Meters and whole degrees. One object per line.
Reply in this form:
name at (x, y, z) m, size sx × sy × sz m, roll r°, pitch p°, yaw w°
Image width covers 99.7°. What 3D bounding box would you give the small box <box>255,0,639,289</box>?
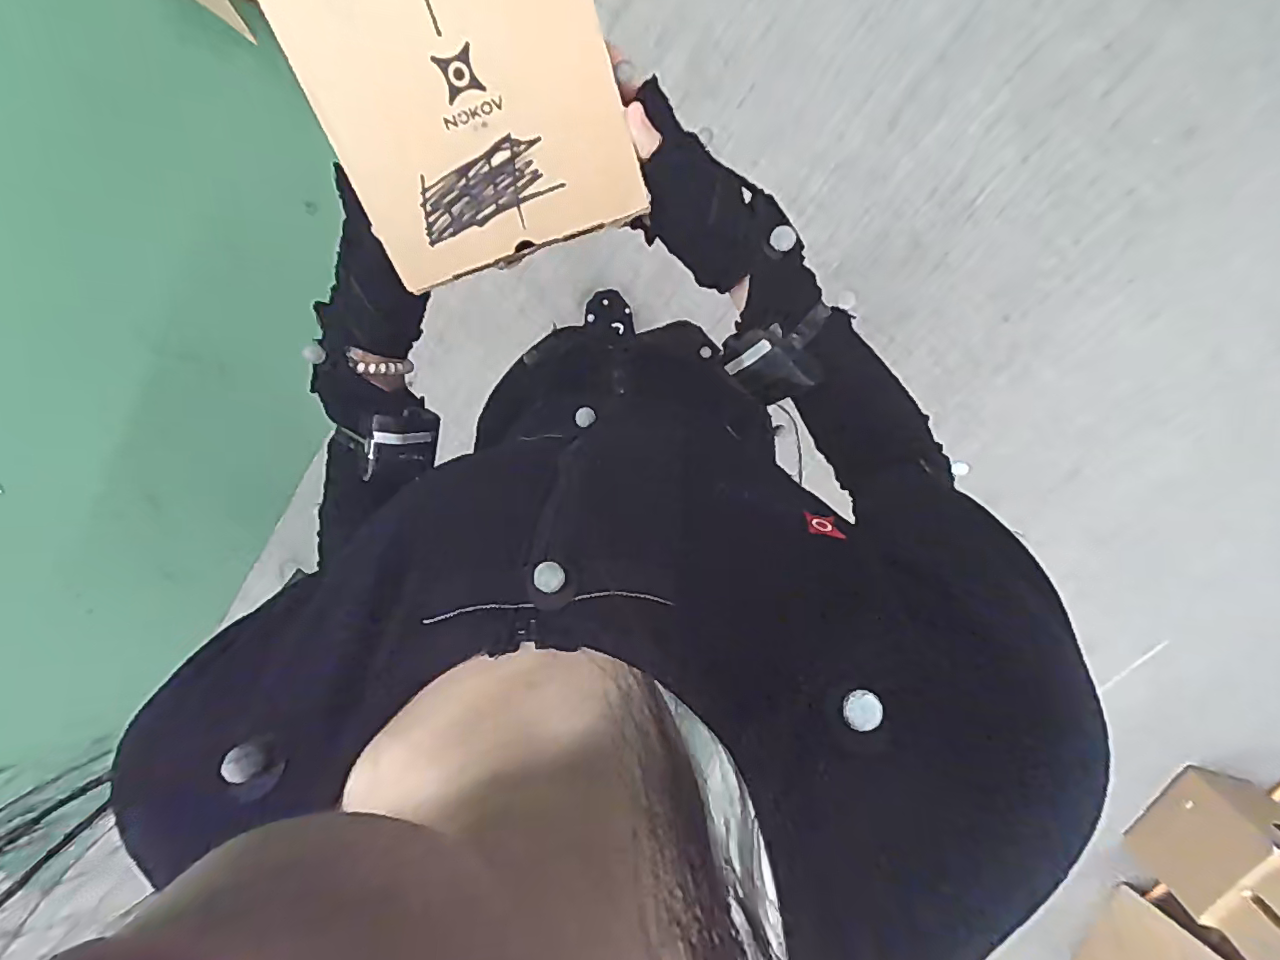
small box at (-0.103, -0.255, 0.366) m, size 0.168 × 0.176 × 0.179 m, roll -17°, pitch 119°, yaw 7°
